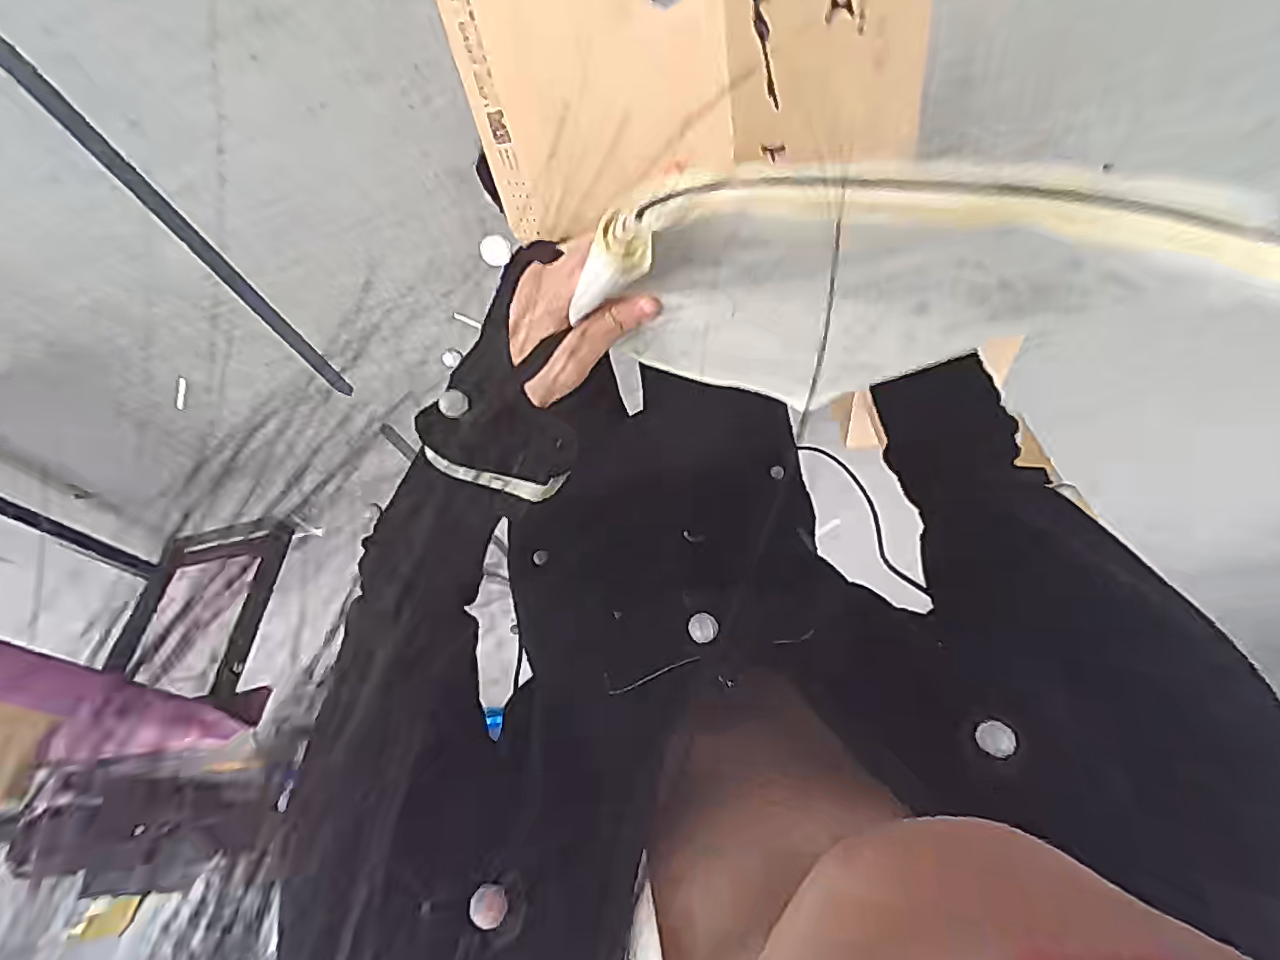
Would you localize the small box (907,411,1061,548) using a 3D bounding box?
[{"bbox_3d":[0.610,0.001,0.989,0.168,0.176,0.179,-11,143,8],"label":"small box"}]
